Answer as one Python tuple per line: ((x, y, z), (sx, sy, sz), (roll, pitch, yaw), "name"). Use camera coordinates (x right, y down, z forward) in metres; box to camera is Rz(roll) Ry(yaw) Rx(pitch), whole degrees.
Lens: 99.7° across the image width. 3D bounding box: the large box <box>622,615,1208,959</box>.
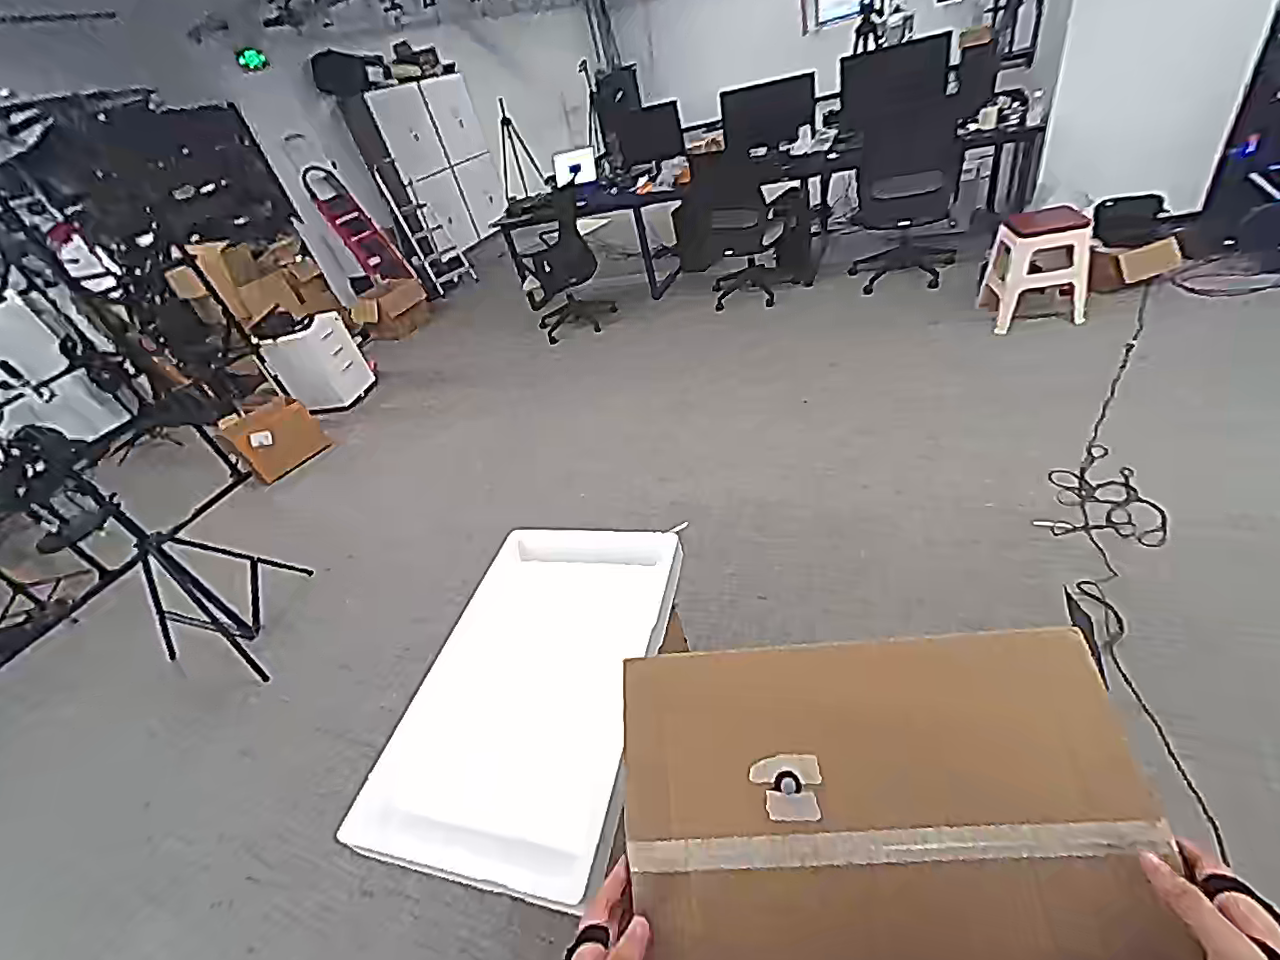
((0.213, 0.345, 0.560), (0.408, 0.320, 0.320), (-7, 63, 7), "large box")
